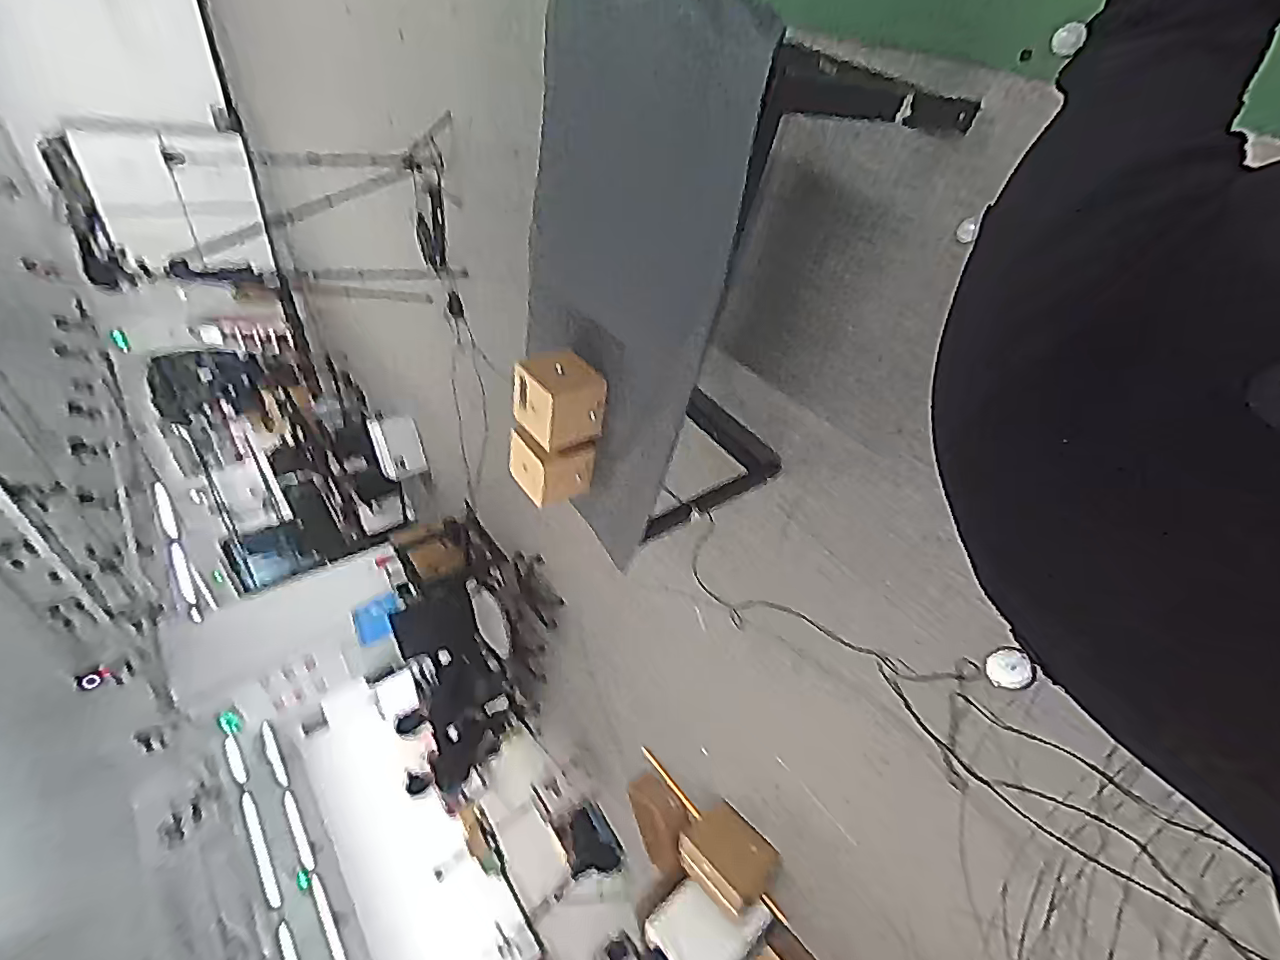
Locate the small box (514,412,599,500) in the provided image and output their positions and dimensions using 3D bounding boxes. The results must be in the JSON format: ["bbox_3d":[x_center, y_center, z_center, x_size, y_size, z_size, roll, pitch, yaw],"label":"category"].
[{"bbox_3d":[-0.241,-0.076,1.541,0.179,0.176,0.168,45,140,29],"label":"small box"}]
